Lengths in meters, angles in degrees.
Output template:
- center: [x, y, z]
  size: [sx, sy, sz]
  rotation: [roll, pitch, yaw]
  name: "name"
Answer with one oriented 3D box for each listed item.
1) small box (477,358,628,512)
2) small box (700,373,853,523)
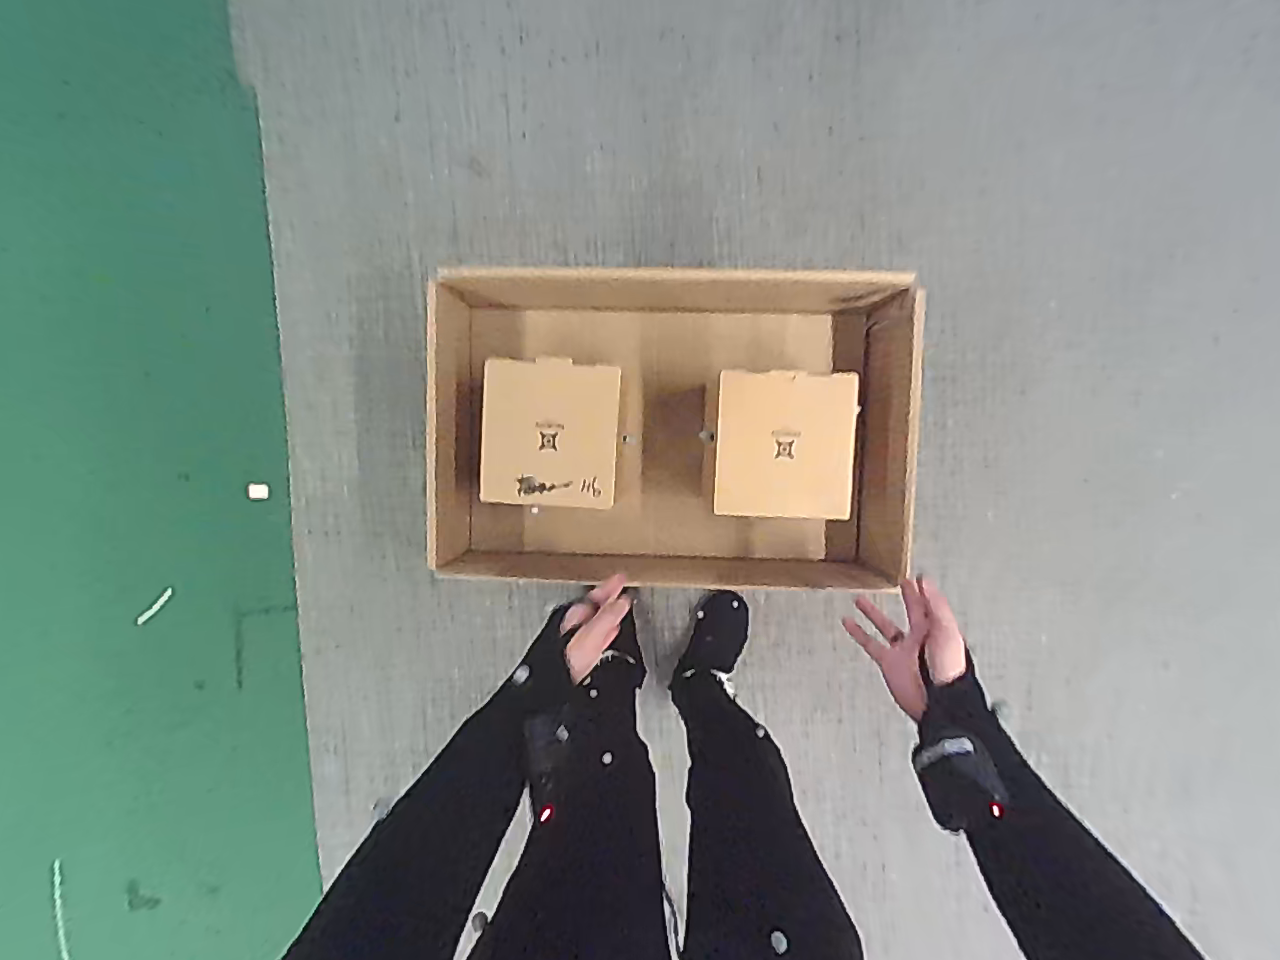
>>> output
- center: [-0.108, -0.057, 0.734]
  size: [0.168, 0.176, 0.179]
  rotation: [5, 92, 3]
  name: "small box"
- center: [0.171, -0.043, 0.729]
  size: [0.168, 0.176, 0.179]
  rotation: [2, 93, 2]
  name: "small box"
